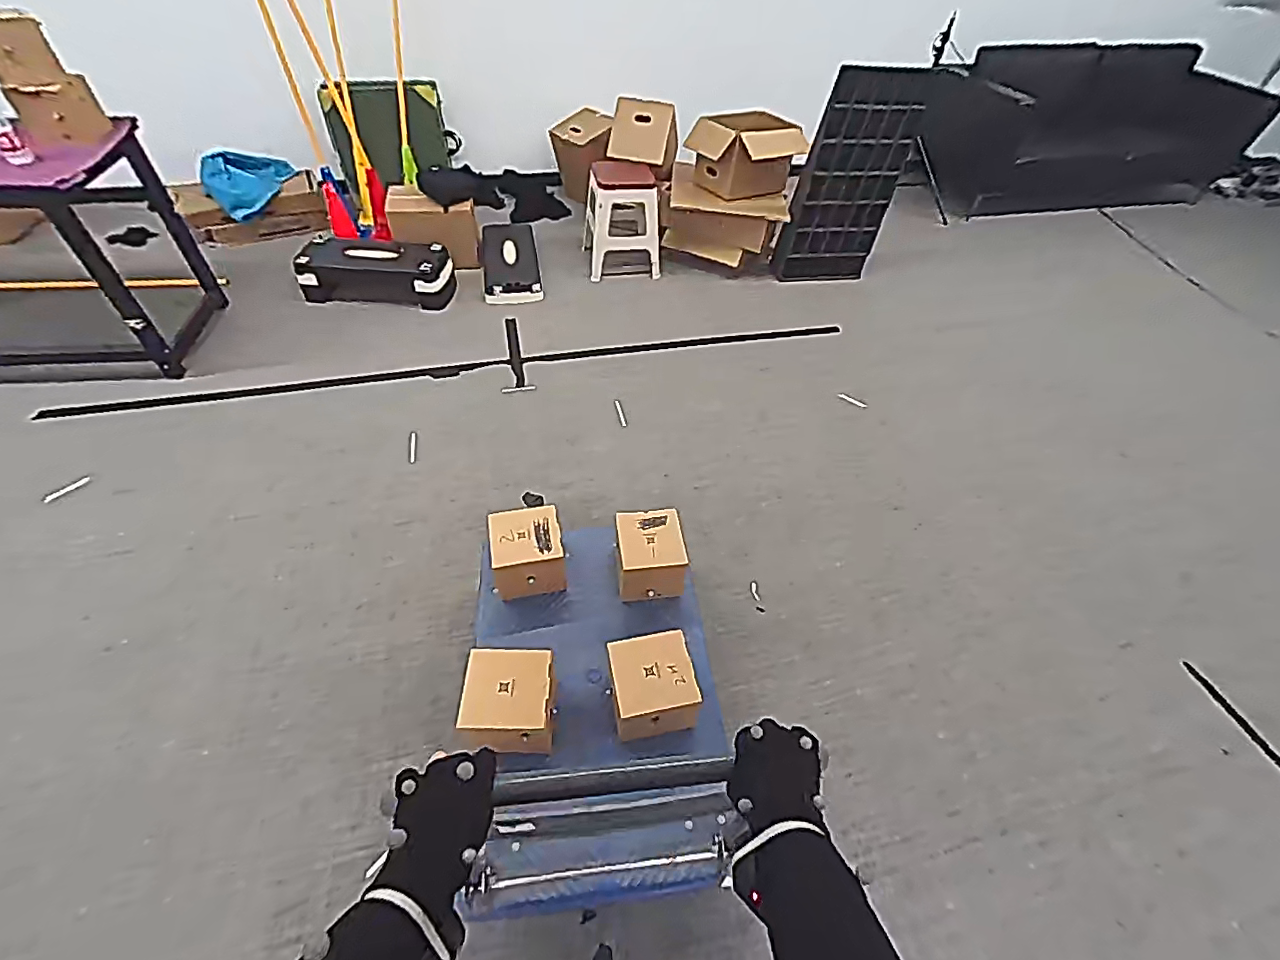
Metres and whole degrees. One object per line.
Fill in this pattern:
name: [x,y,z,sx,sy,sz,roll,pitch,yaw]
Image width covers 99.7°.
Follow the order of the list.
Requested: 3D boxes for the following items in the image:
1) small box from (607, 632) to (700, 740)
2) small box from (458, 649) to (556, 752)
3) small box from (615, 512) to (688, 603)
small box: [0.023,0.467,1.221,0.179,0.176,0.168,-7,50,-10]
small box: [-0.281,0.485,1.183,0.179,0.176,0.168,2,49,-4]
small box: [0.024,0.207,1.447,0.168,0.176,0.179,-4,50,-8]
